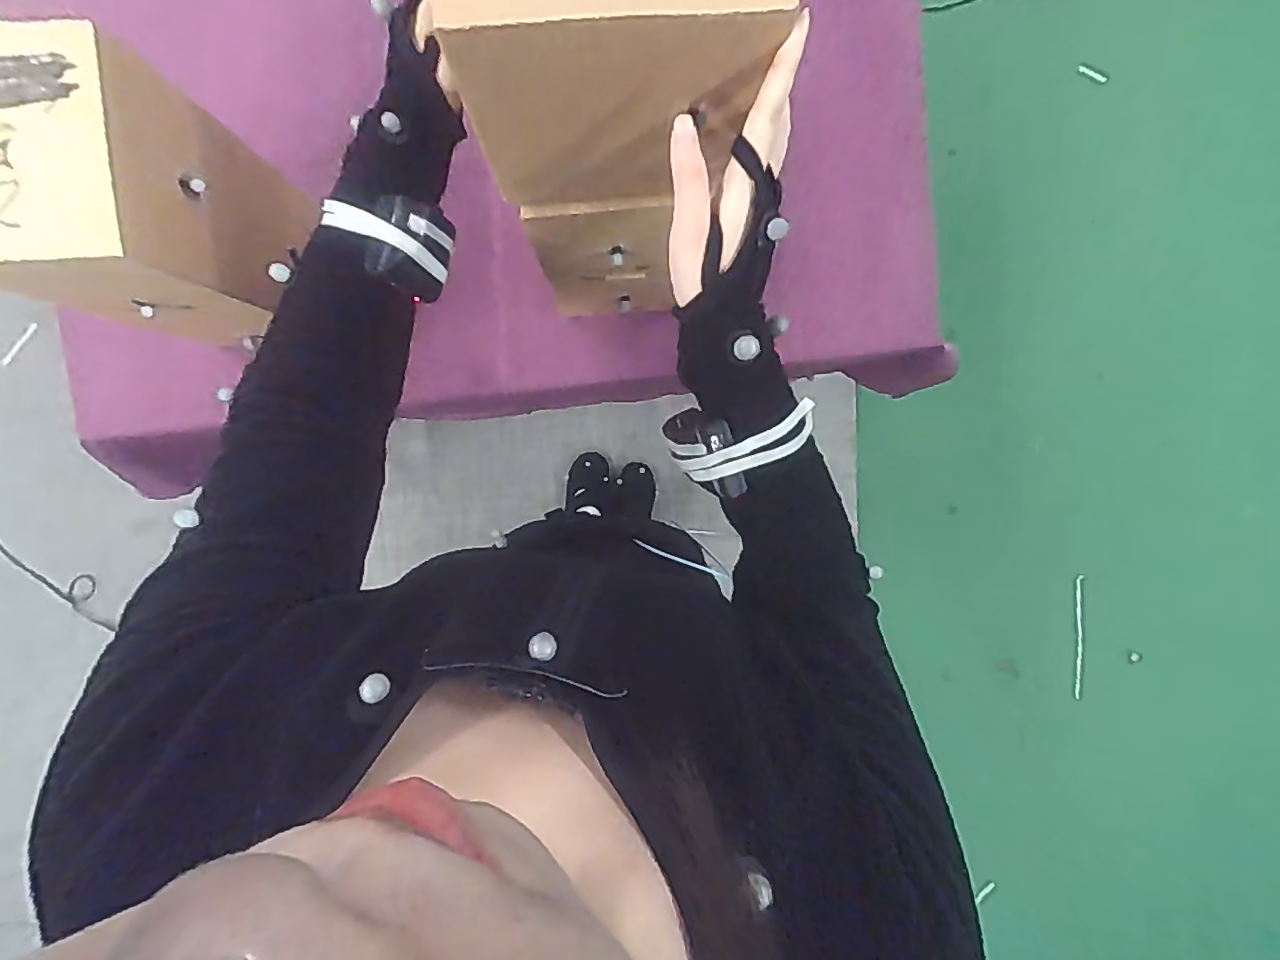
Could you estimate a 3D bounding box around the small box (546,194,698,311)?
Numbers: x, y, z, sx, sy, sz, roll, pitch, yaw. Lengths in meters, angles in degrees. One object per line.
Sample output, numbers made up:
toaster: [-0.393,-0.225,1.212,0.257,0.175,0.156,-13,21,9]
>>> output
small box: [-0.024,-0.314,0.669,0.168,0.176,0.179,-5,95,-3]

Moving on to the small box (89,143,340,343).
small box: [-0.489,-0.269,0.649,0.168,0.176,0.179,-4,95,-3]

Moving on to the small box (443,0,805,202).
small box: [-0.016,-0.295,0.335,0.179,0.176,0.168,-5,91,-3]
